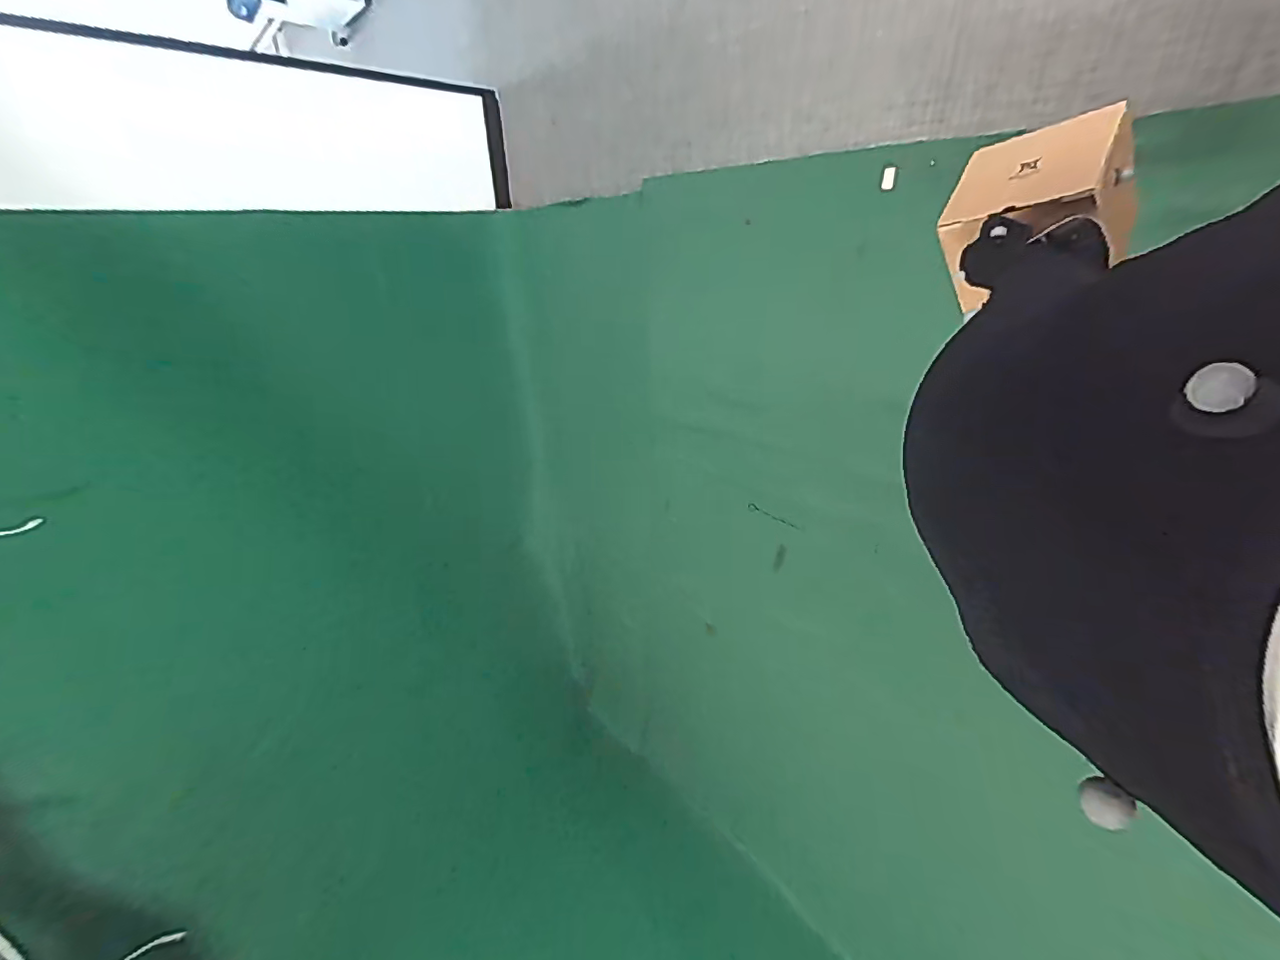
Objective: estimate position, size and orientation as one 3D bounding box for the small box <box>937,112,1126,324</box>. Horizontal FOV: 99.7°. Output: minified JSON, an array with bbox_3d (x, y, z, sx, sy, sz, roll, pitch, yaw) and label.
[{"bbox_3d":[0.534,-0.340,0.732,0.168,0.179,0.176,7,148,49],"label":"small box"}]
